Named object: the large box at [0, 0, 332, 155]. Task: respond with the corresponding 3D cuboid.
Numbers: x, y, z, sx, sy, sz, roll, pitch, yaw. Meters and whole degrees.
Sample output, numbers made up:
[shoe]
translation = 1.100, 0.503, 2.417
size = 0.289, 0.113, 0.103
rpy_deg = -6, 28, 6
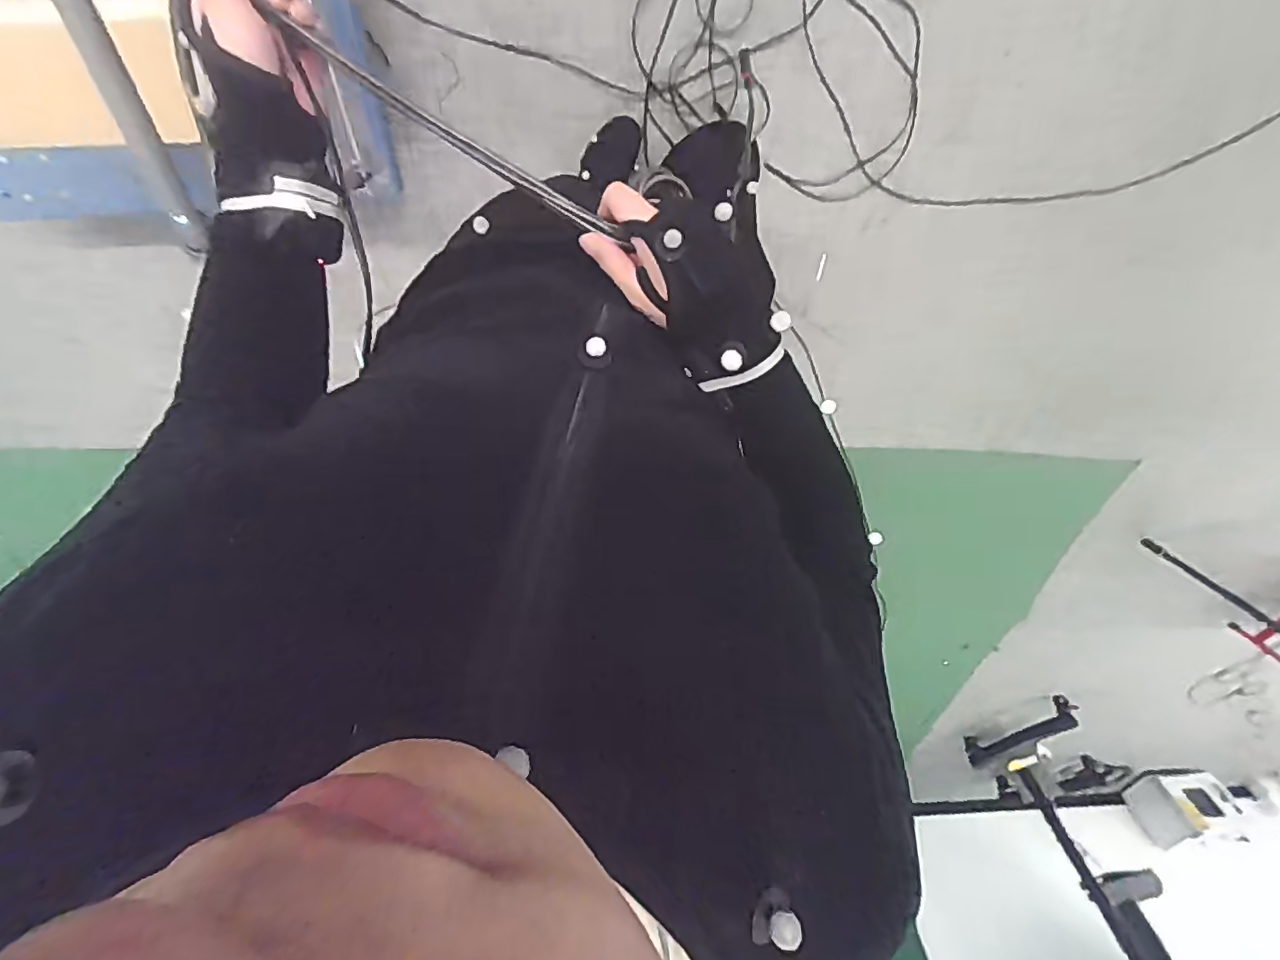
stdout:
[large box]
translation = -0.798, -0.724, 0.854
size = 0.408, 0.320, 0.320
rpy_deg = -2, 128, -1
